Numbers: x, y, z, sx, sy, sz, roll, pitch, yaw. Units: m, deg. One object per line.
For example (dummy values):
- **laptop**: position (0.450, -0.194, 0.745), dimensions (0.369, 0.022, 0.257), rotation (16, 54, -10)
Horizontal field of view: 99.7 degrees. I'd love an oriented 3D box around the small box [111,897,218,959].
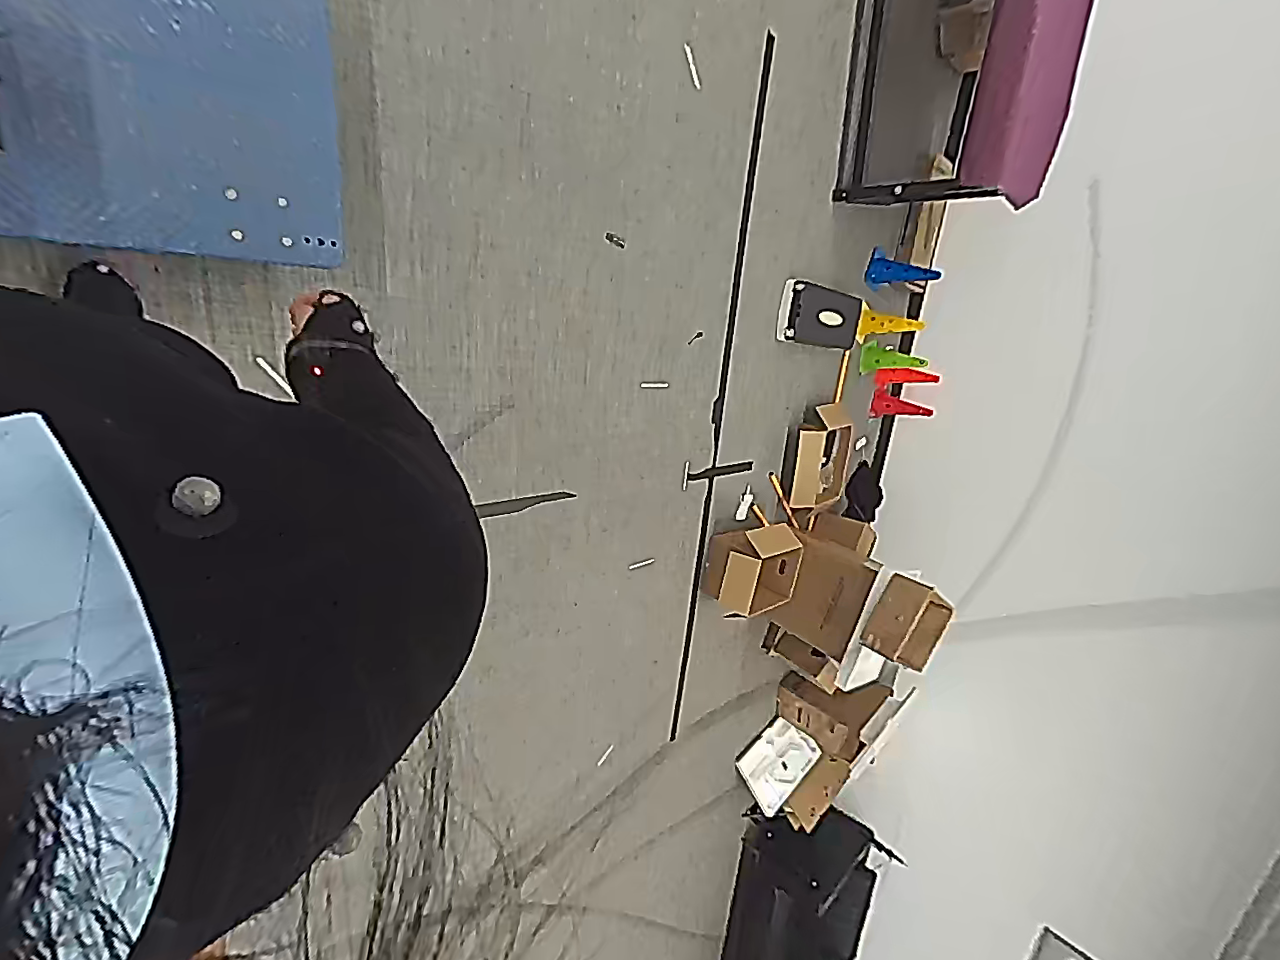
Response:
- **small box**: position (-1.216, 1.239, 1.392), dimensions (0.168, 0.176, 0.179), rotation (-25, 123, -39)
